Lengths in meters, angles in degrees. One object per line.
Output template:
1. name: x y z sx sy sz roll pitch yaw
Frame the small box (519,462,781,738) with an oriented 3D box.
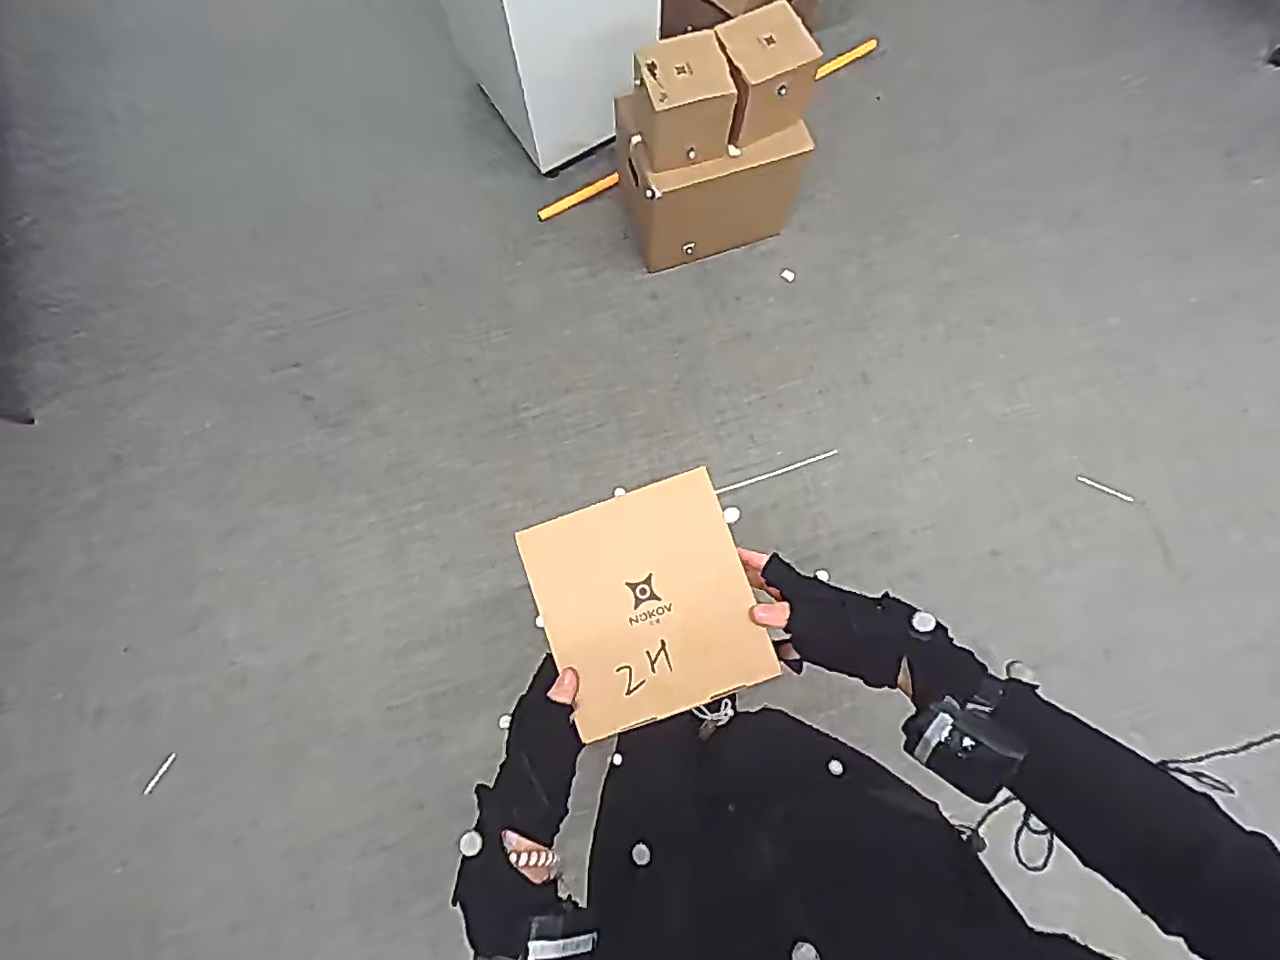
1. small box: 0.008 0.100 0.499 0.168 0.176 0.179 -19 83 1
